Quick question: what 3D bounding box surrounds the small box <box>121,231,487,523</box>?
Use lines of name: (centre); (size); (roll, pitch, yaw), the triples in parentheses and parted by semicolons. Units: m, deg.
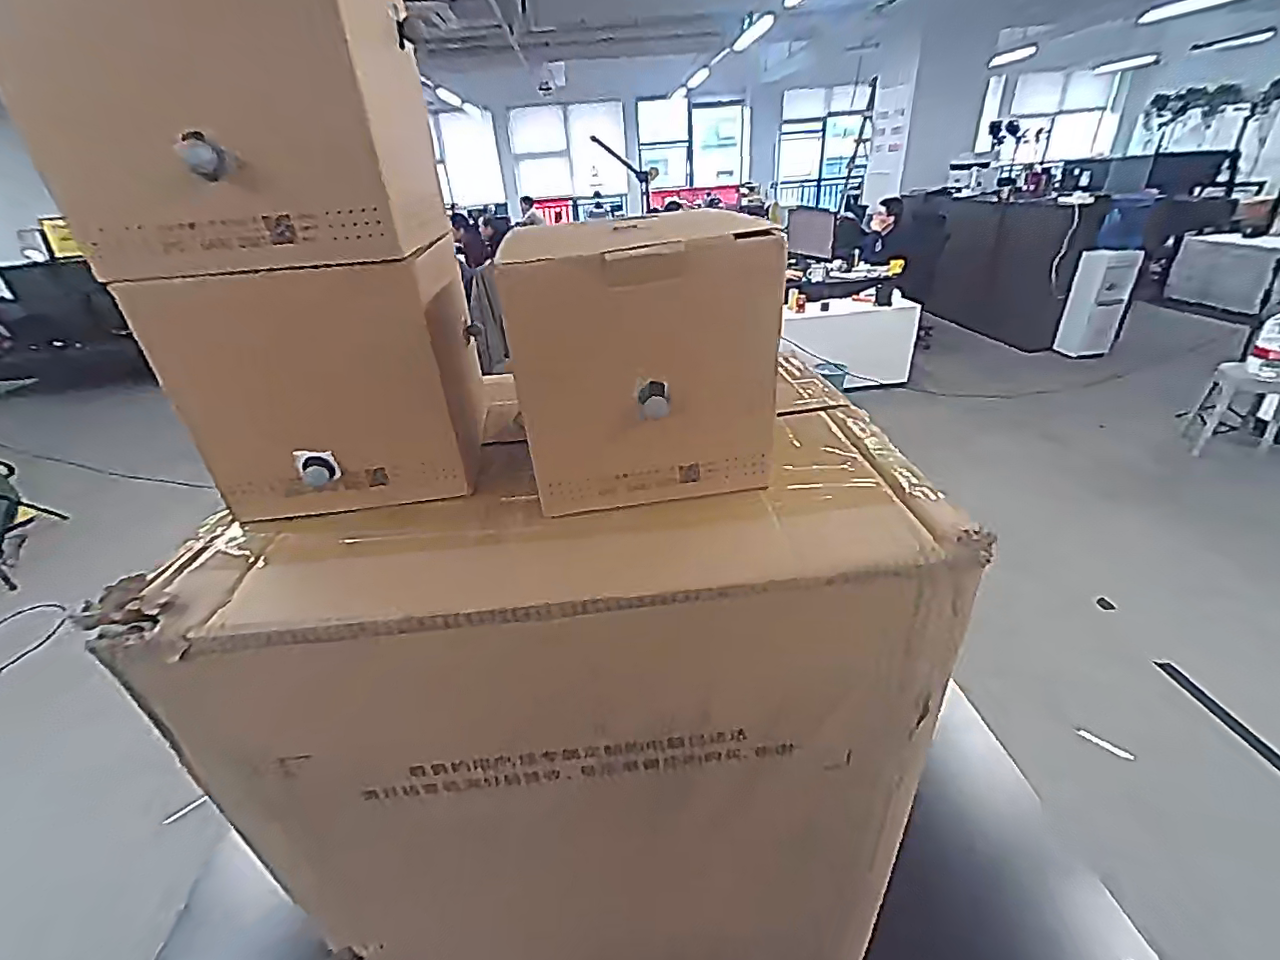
small box: (-0.220, -0.089, 0.420); (0.168, 0.176, 0.179); (-8, 32, -7)

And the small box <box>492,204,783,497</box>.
small box: (-0.003, -0.098, 0.405); (0.168, 0.176, 0.179); (-7, 32, -5)

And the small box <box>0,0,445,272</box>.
small box: (-0.231, -0.230, 0.335); (0.168, 0.176, 0.179); (-7, 30, -5)
